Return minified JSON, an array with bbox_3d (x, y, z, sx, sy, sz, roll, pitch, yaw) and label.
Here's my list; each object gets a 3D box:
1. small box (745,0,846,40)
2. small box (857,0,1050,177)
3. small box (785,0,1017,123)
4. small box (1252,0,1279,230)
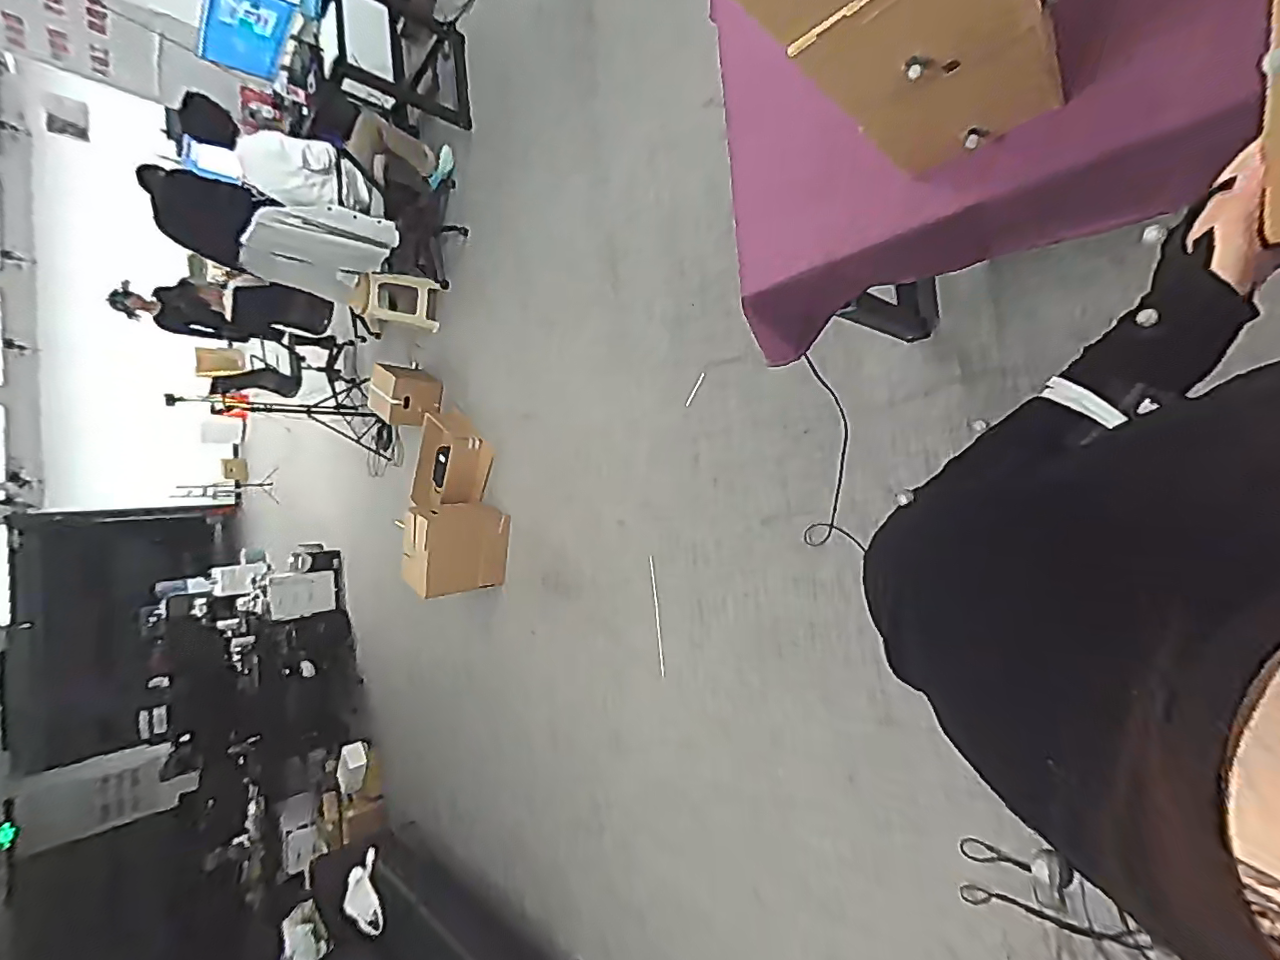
[{"bbox_3d":[0.141,-0.508,0.421,0.179,0.176,0.168,-4,88,45],"label":"small box"},{"bbox_3d":[0.374,-0.510,0.654,0.179,0.176,0.168,-9,85,45],"label":"small box"},{"bbox_3d":[0.256,-0.511,0.539,0.168,0.176,0.179,-7,87,46],"label":"small box"},{"bbox_3d":[0.432,-0.228,0.257,0.168,0.176,0.179,1,110,41],"label":"small box"}]
